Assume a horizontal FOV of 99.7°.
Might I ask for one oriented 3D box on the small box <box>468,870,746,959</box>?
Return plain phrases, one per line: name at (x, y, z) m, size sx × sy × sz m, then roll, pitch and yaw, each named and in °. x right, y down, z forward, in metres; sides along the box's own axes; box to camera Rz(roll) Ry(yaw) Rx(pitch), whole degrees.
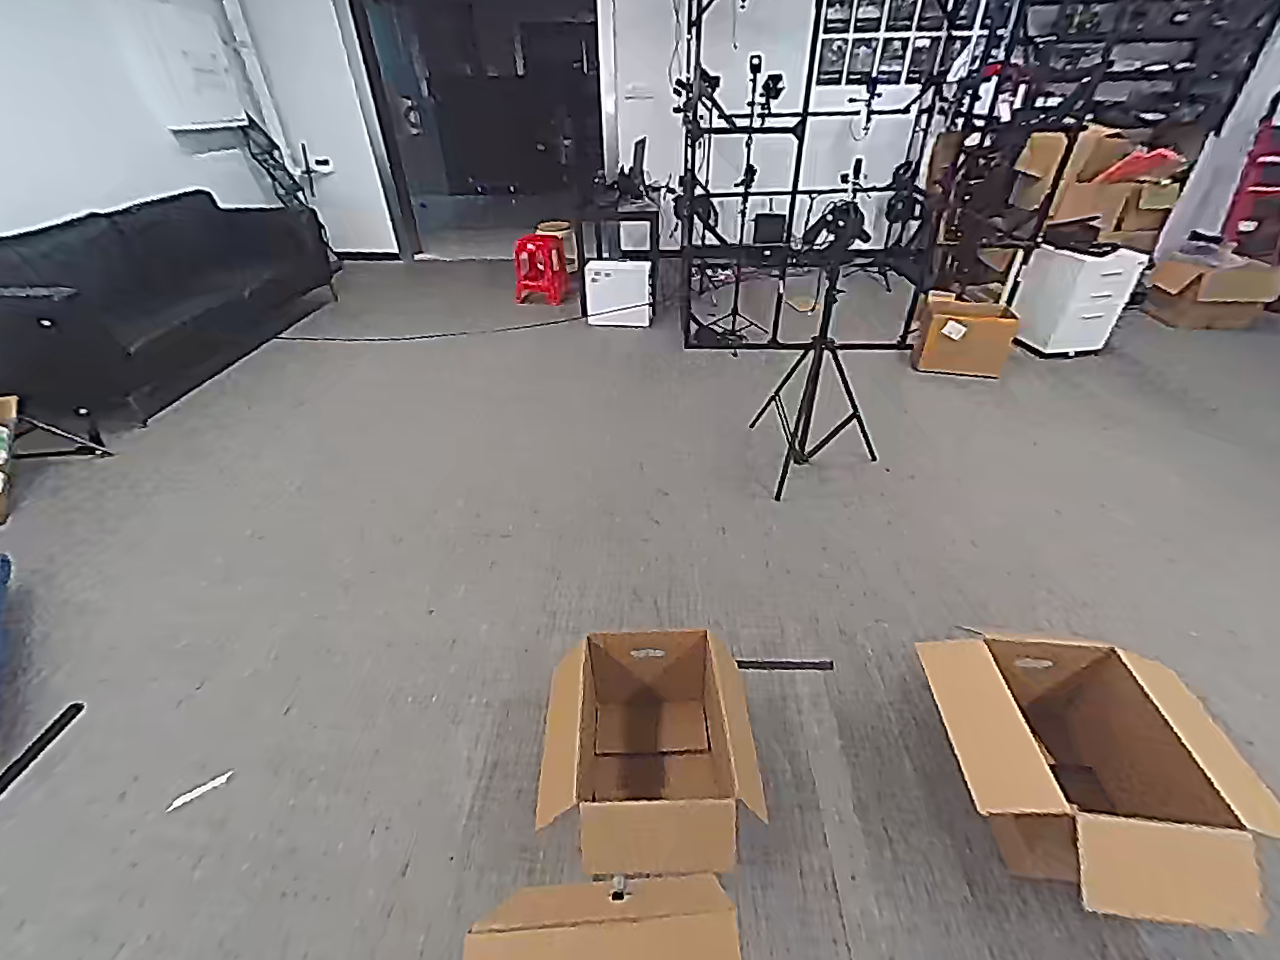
small box at (-0.014, 0.386, 0.375) m, size 0.179 × 0.176 × 0.168 m, roll -5°, pitch 60°, yaw -1°
